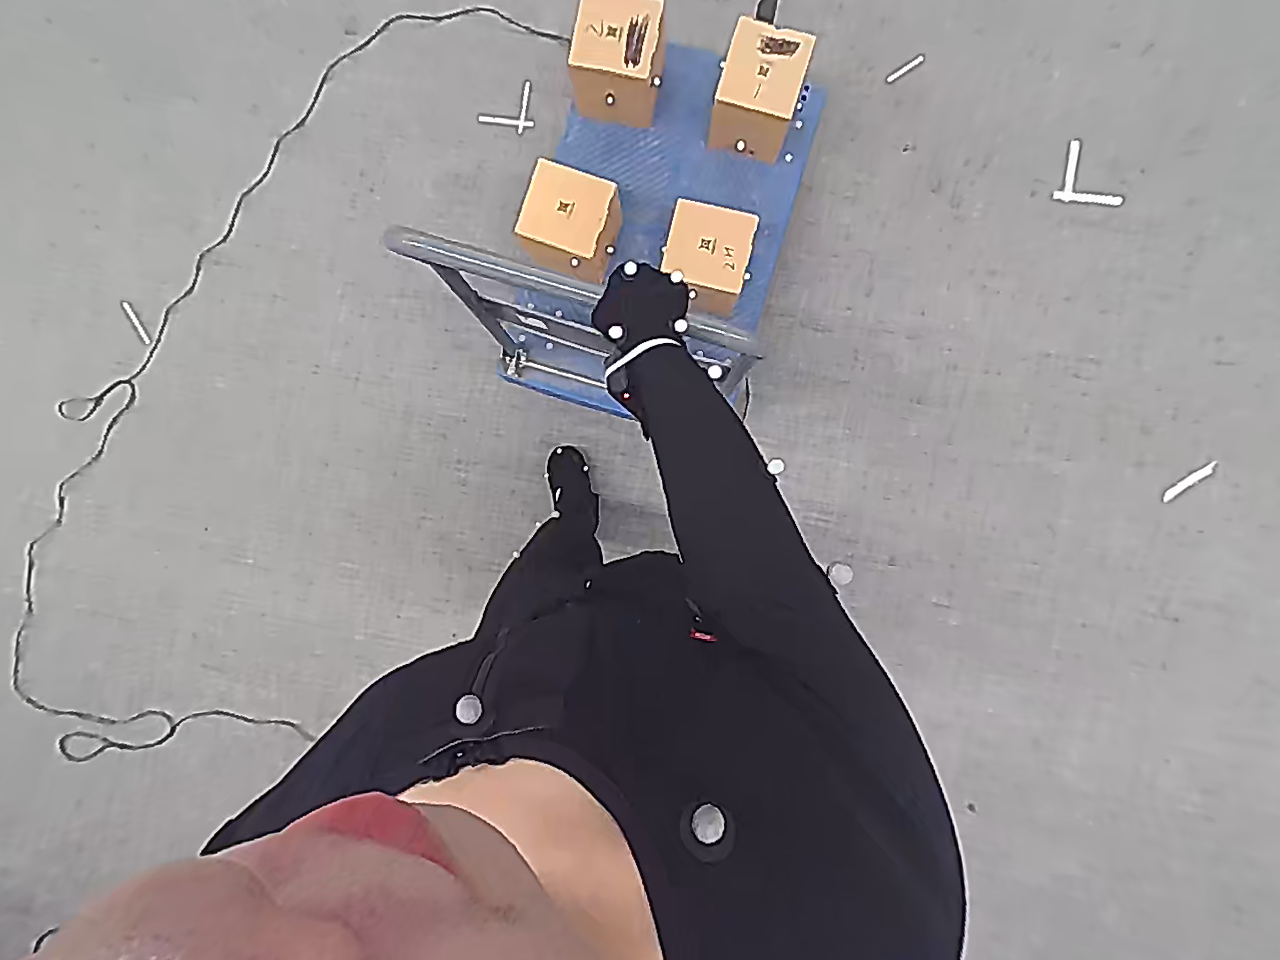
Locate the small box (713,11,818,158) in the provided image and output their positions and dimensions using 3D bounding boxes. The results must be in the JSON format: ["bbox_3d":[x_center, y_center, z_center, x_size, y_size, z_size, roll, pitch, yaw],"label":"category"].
[{"bbox_3d":[0.264,-0.851,1.180,0.168,0.176,0.179,17,93,2],"label":"small box"}]

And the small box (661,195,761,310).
[{"bbox_3d":[0.150,-0.491,1.193,0.179,0.176,0.168,14,92,2],"label":"small box"}]

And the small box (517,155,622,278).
[{"bbox_3d":[-0.148,-0.575,1.205,0.179,0.176,0.168,19,91,0],"label":"small box"}]
